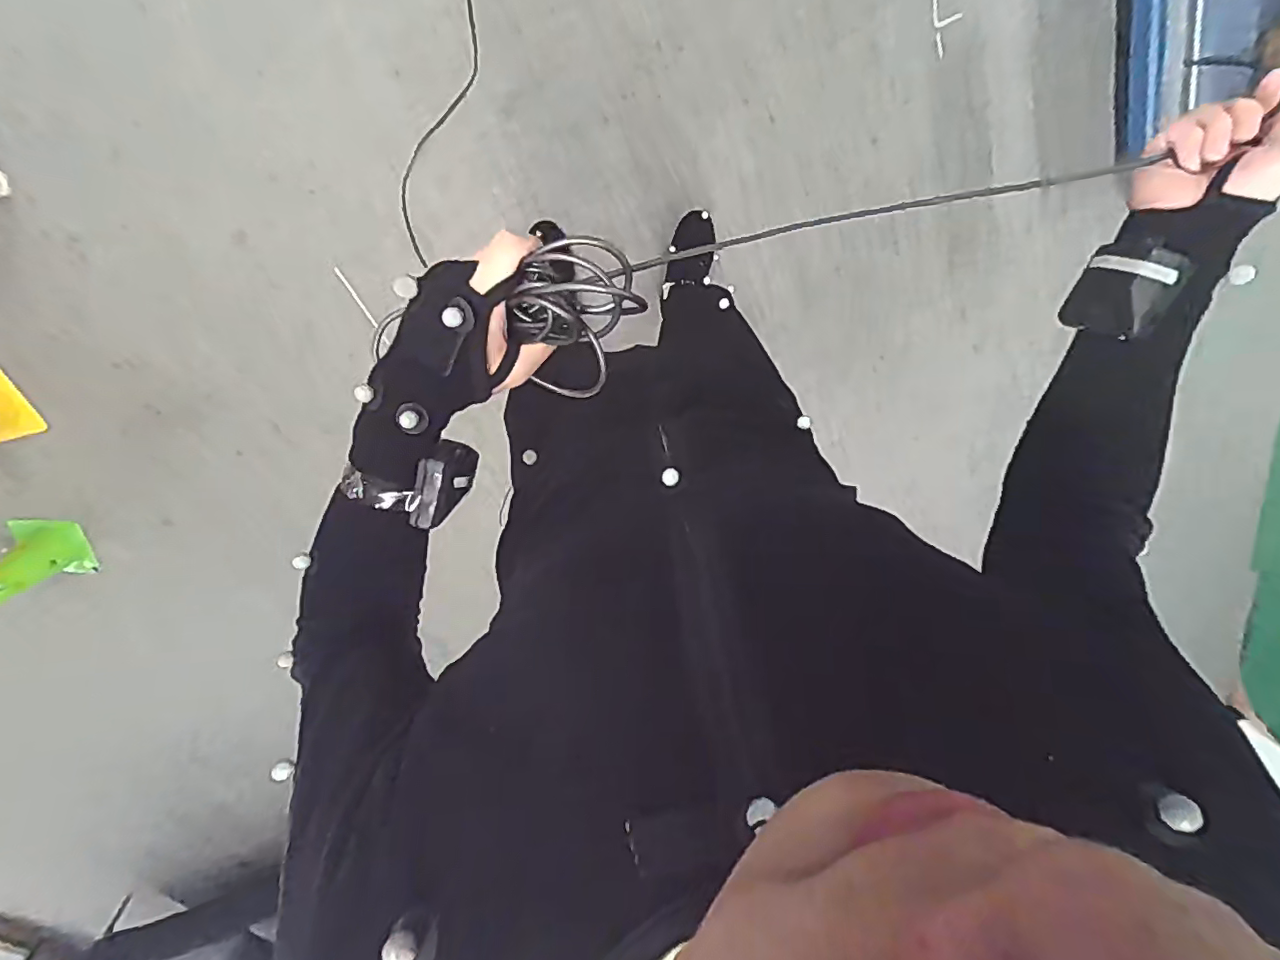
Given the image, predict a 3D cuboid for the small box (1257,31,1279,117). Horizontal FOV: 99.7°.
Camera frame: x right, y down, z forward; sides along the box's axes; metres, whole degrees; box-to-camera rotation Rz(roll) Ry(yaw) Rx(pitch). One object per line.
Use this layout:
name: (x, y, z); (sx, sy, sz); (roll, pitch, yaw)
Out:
small box: (1.401, -0.841, 1.060); (0.179, 0.176, 0.168); (-20, 119, 9)
